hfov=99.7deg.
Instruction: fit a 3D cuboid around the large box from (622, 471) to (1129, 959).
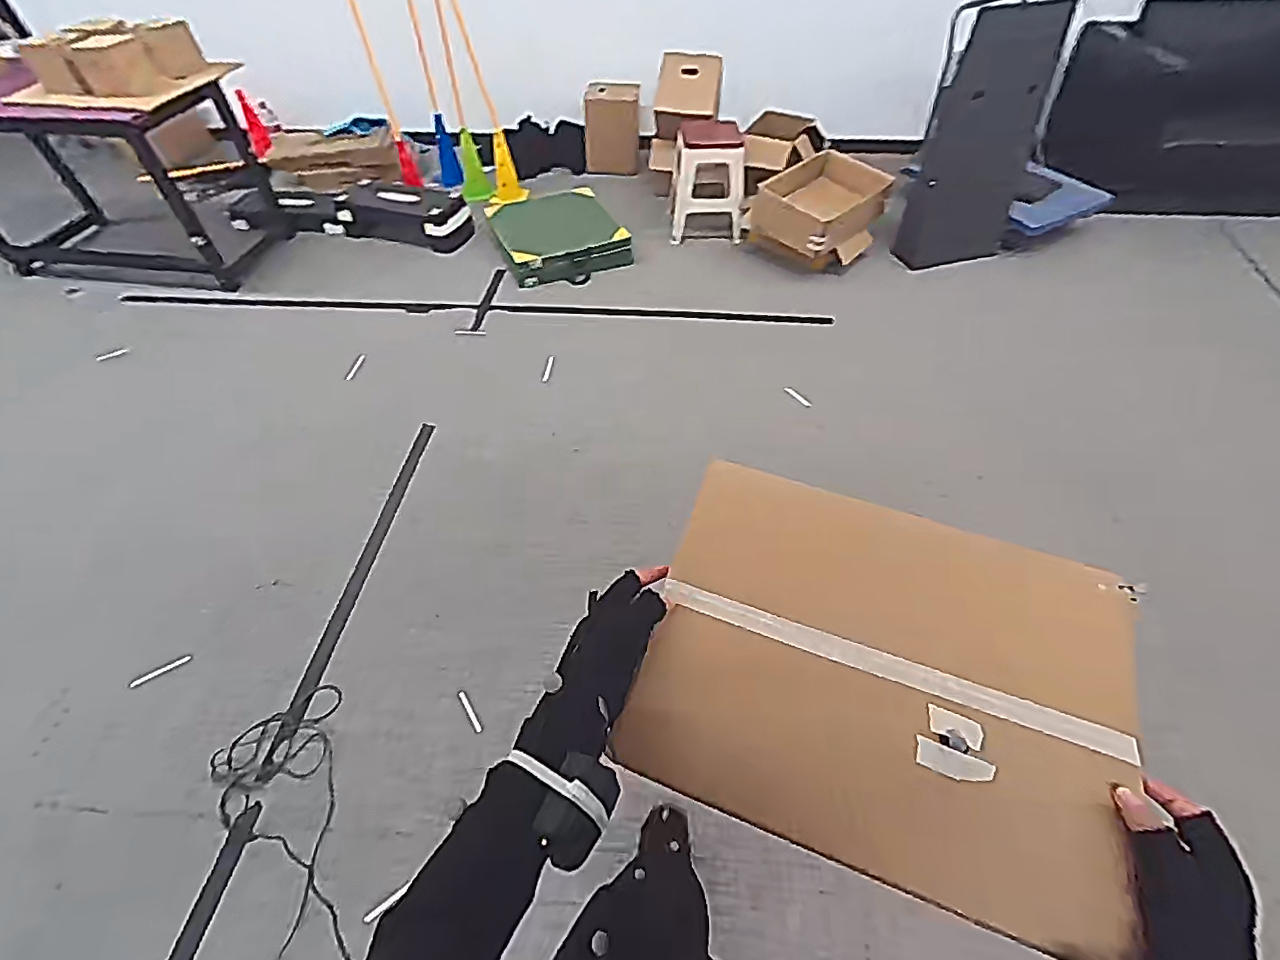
[{"bbox_3d":[0.225,0.240,0.624,0.408,0.320,0.320,18,65,12],"label":"large box"}]
